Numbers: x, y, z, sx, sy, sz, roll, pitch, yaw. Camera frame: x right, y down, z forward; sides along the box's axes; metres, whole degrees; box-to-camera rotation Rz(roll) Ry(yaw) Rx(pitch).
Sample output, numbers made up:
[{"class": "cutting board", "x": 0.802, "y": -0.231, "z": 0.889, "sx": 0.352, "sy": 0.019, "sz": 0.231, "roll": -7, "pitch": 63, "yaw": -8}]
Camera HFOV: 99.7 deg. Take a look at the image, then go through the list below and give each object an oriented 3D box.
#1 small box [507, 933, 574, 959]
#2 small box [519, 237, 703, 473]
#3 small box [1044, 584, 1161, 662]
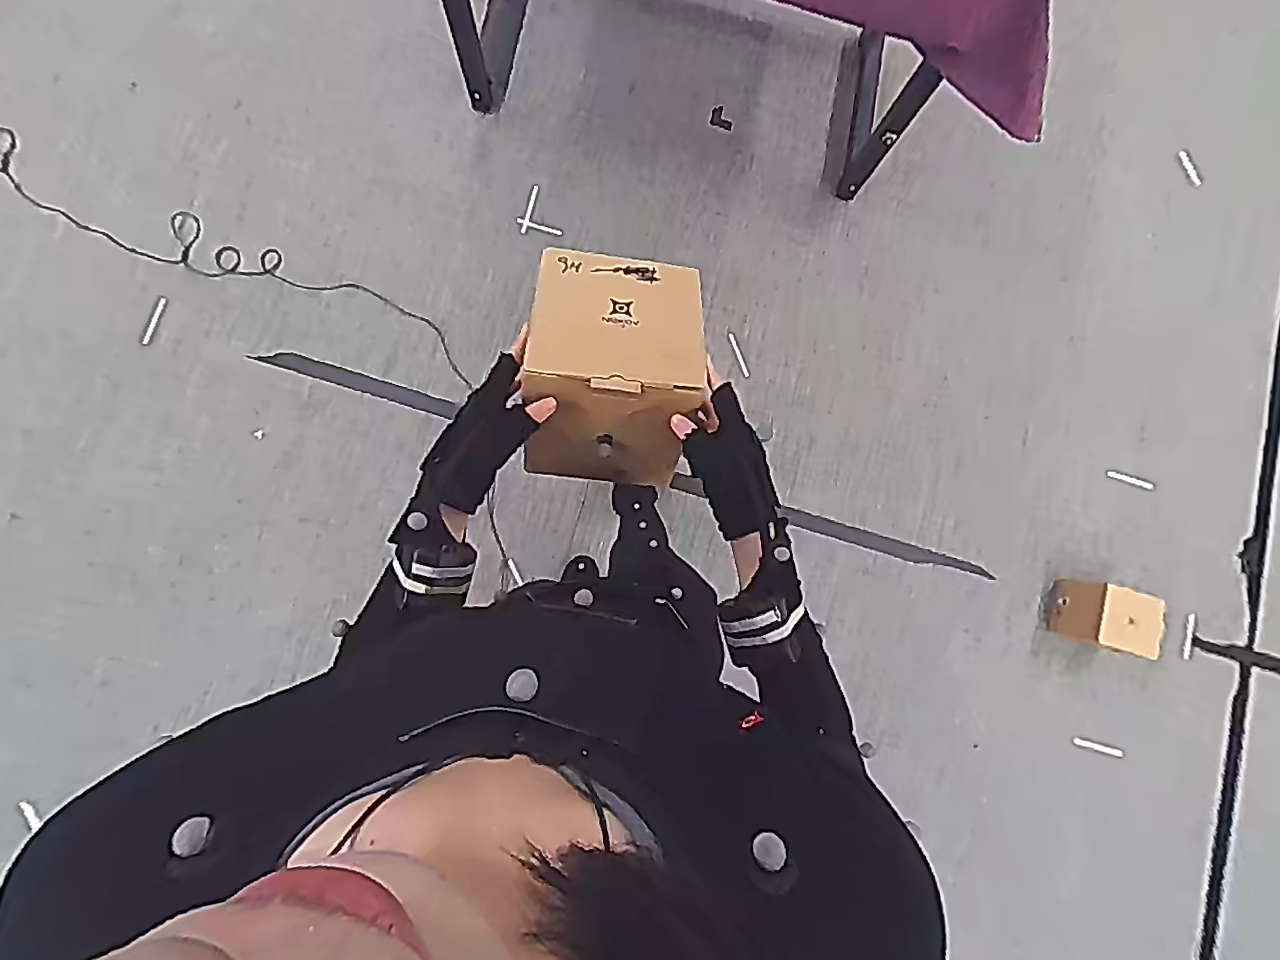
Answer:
[{"class": "small box", "x": -0.236, "y": 1.272, "z": 1.313, "sx": 0.168, "sy": 0.176, "sz": 0.179, "roll": -23, "pitch": 86, "yaw": -7}, {"class": "small box", "x": -0.032, "y": -0.124, "z": 0.581, "sx": 0.168, "sy": 0.176, "sz": 0.179, "roll": 6, "pitch": 59, "yaw": -7}, {"class": "small box", "x": 1.300, "y": 0.396, "z": 1.529, "sx": 0.179, "sy": 0.176, "sz": 0.168, "roll": 16, "pitch": 82, "yaw": -2}]
